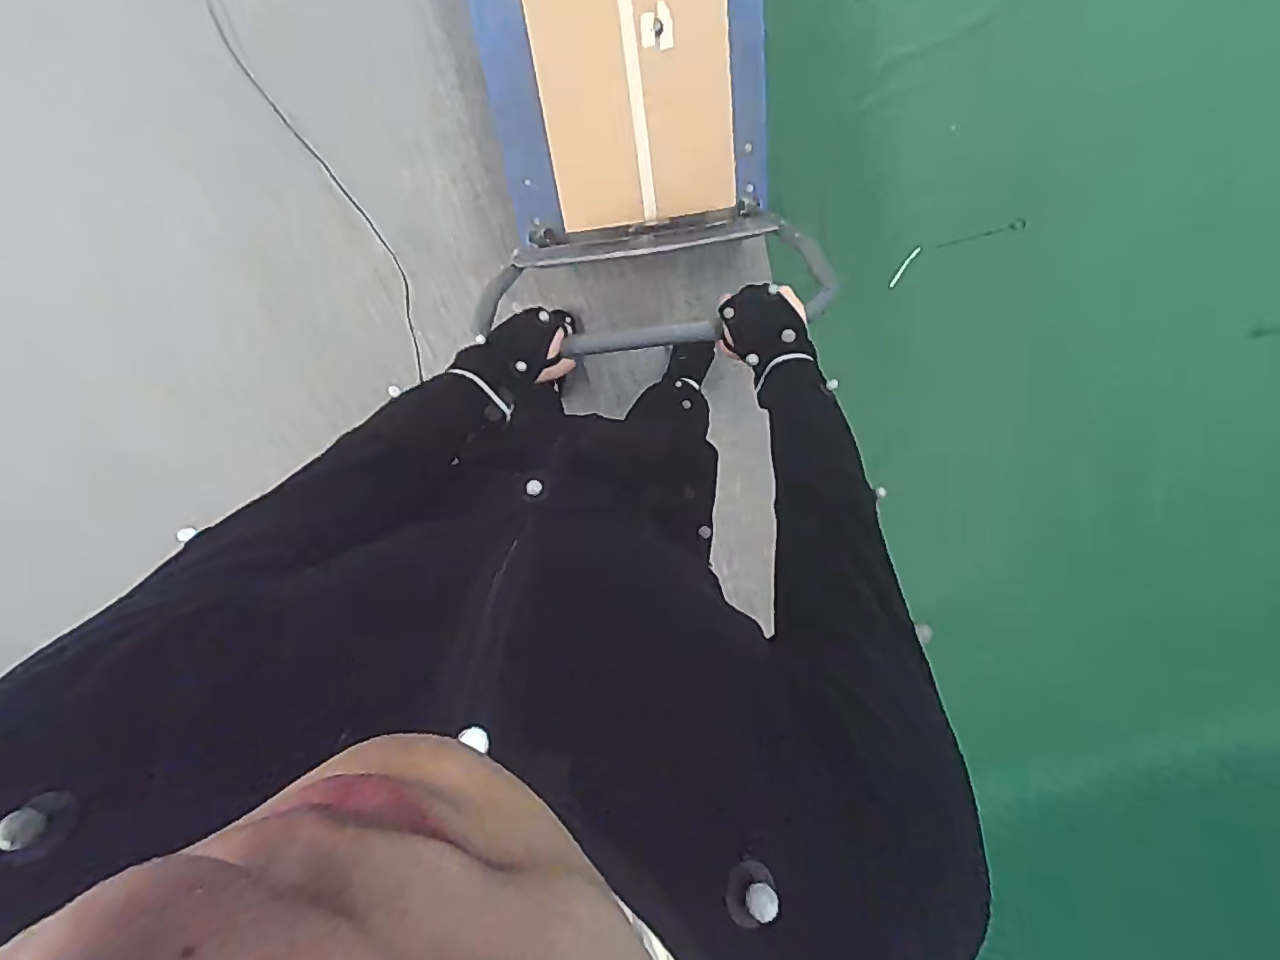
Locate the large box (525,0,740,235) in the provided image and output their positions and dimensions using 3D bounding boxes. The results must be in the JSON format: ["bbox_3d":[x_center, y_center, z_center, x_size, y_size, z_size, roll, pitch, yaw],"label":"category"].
[{"bbox_3d":[0.000,-0.708,1.017,0.320,0.320,0.408,-7,117,4],"label":"large box"}]
